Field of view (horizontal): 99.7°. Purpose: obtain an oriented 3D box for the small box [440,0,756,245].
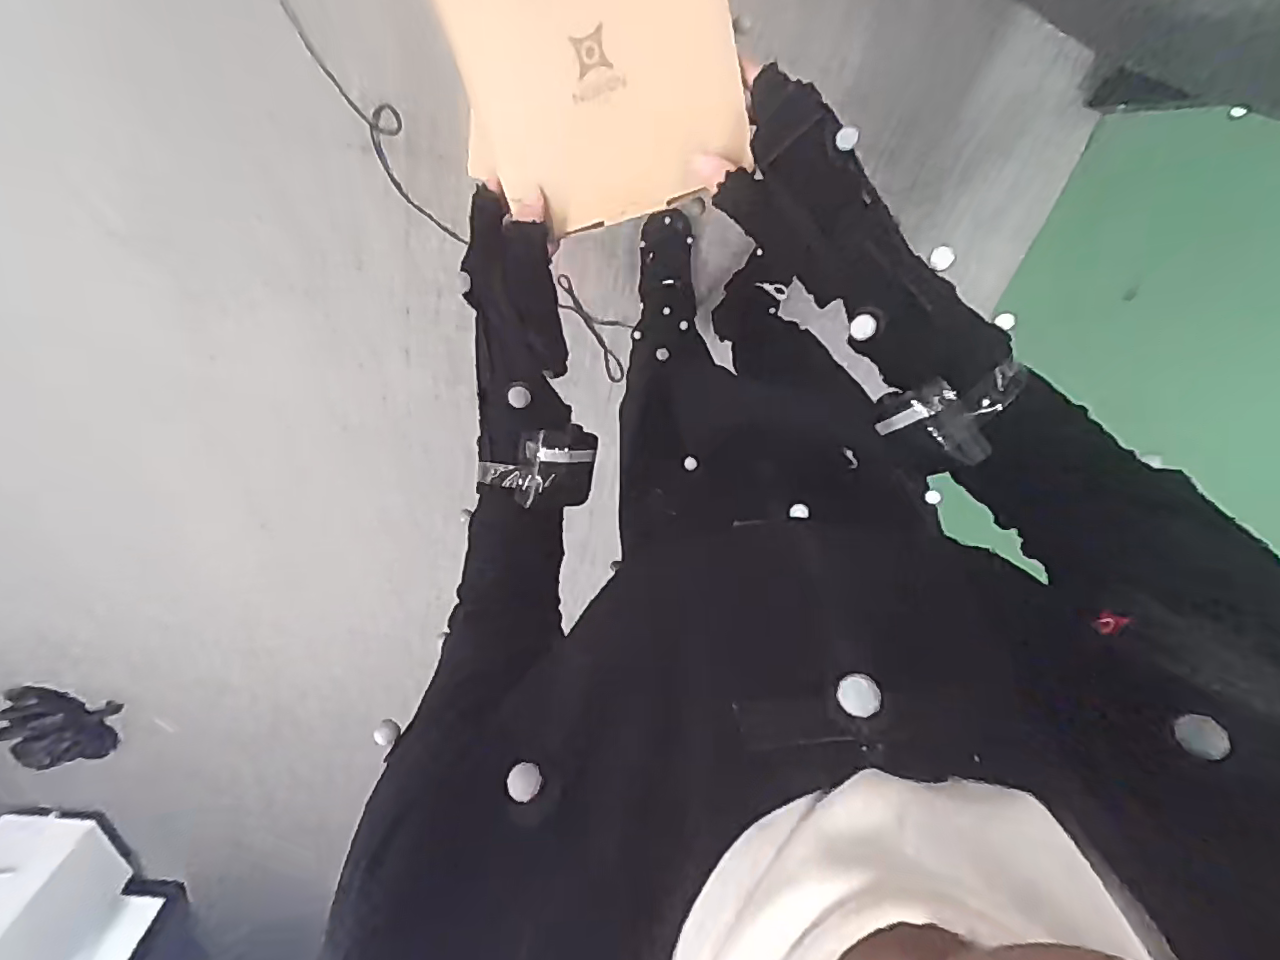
[{"bbox_3d":[-0.013,-0.290,0.387,0.168,0.176,0.179,-11,116,16],"label":"small box"}]
